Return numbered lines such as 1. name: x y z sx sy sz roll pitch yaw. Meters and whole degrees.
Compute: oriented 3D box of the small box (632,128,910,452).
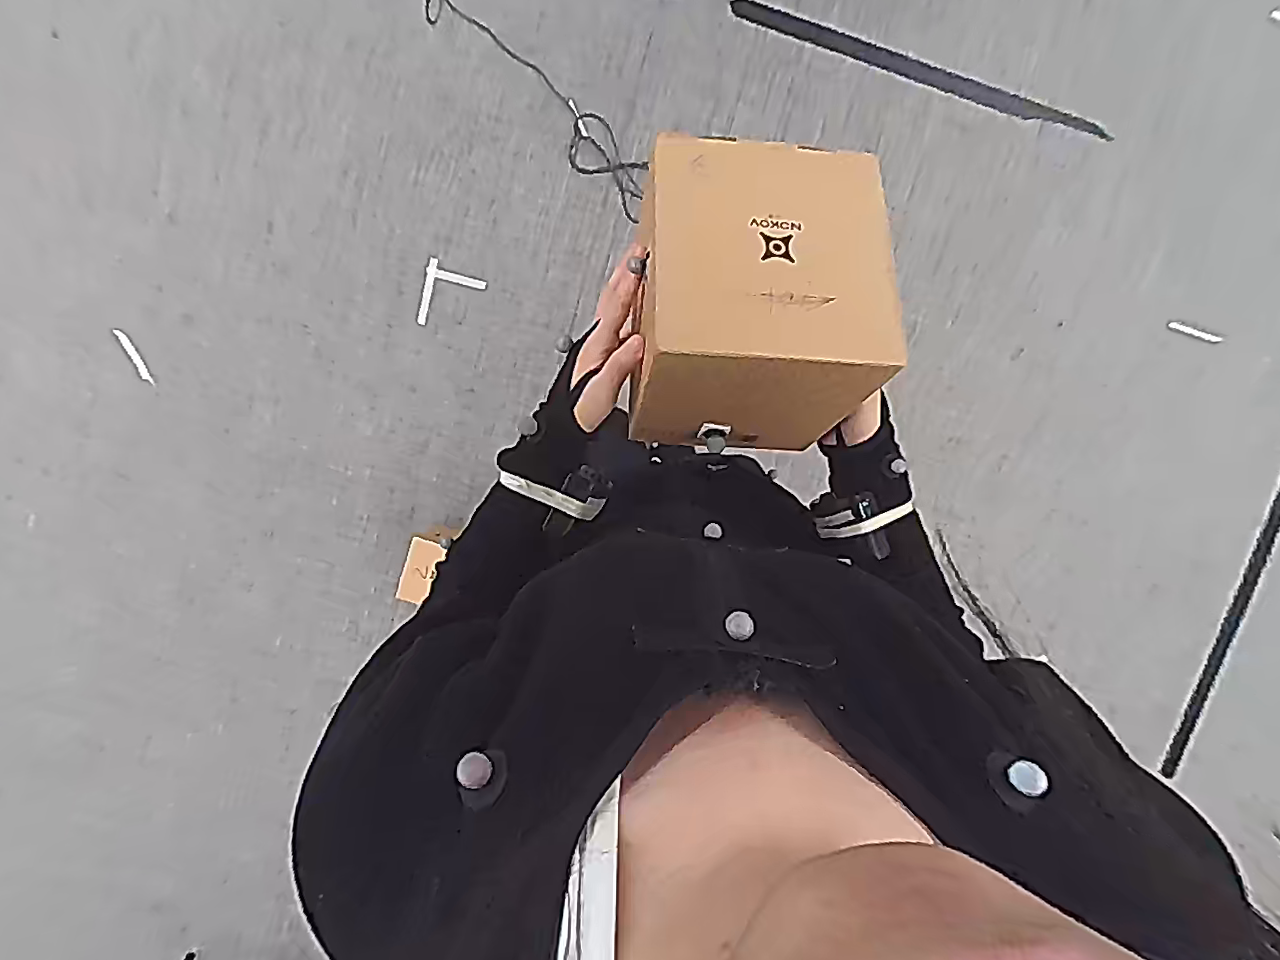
1. small box: 0.083 -0.136 0.436 0.168 0.176 0.179 2 74 -6
